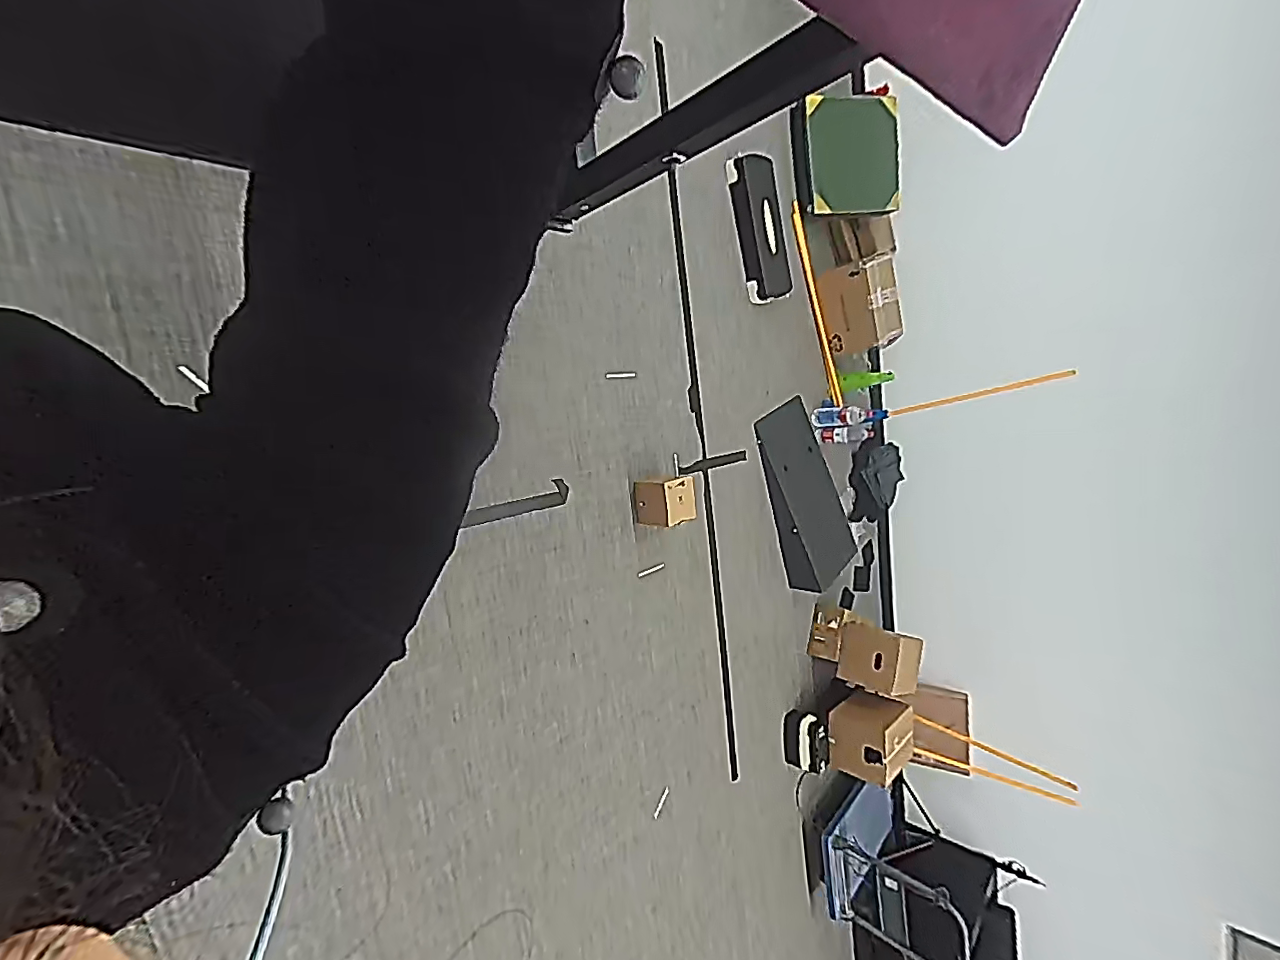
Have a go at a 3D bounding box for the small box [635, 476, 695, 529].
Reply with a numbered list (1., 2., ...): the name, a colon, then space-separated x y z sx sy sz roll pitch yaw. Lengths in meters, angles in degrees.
1. small box: 0.099 0.084 2.149 0.168 0.176 0.179 -14 102 -44
